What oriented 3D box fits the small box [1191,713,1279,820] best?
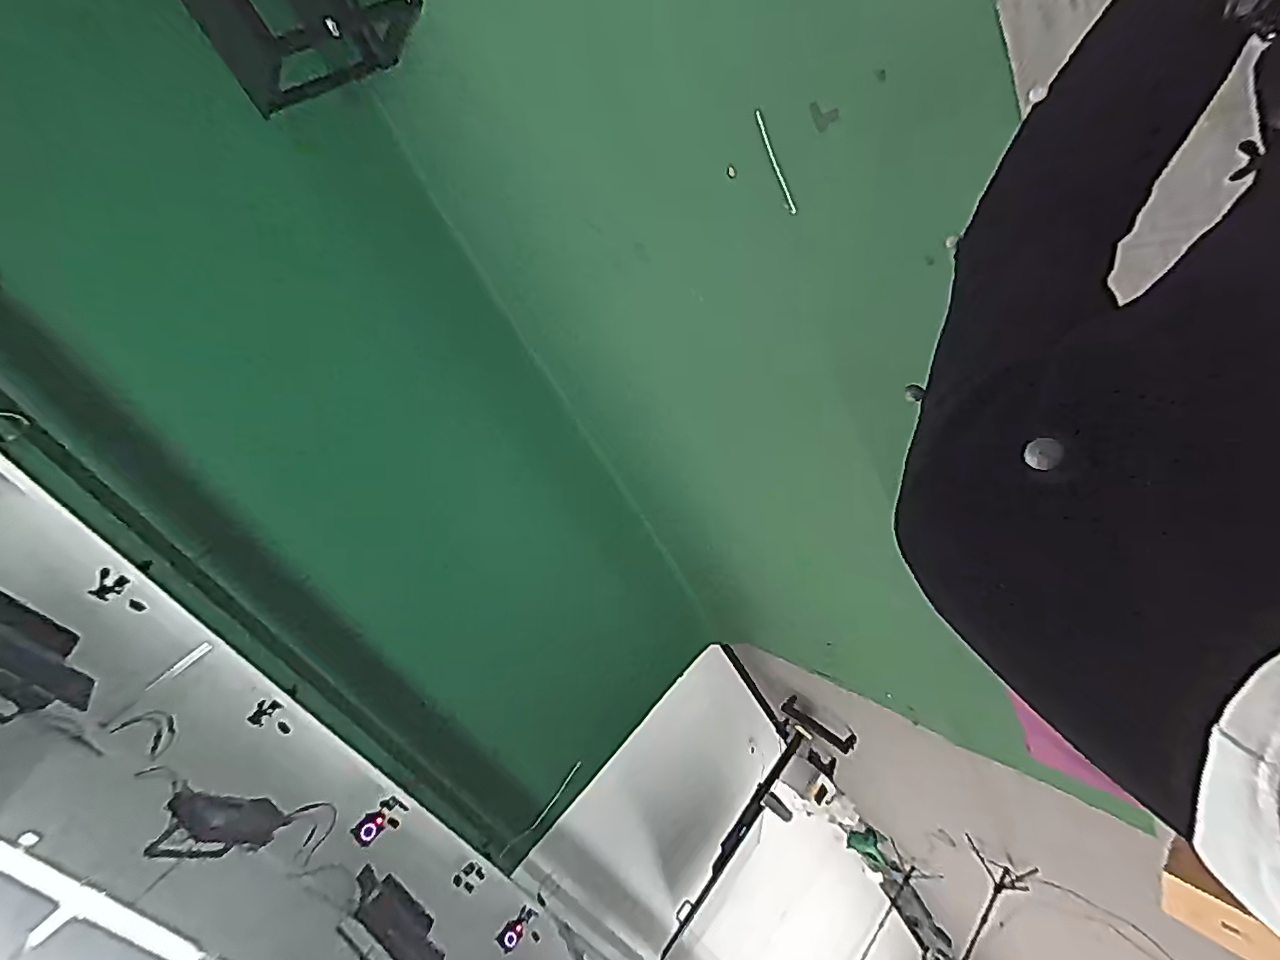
[{"bbox_3d":[1.132,0.562,0.974,0.179,0.176,0.168,16,142,52],"label":"small box"}]

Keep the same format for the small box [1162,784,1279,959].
[{"bbox_3d":[1.022,0.662,0.909,0.179,0.176,0.168,15,140,52],"label":"small box"}]
